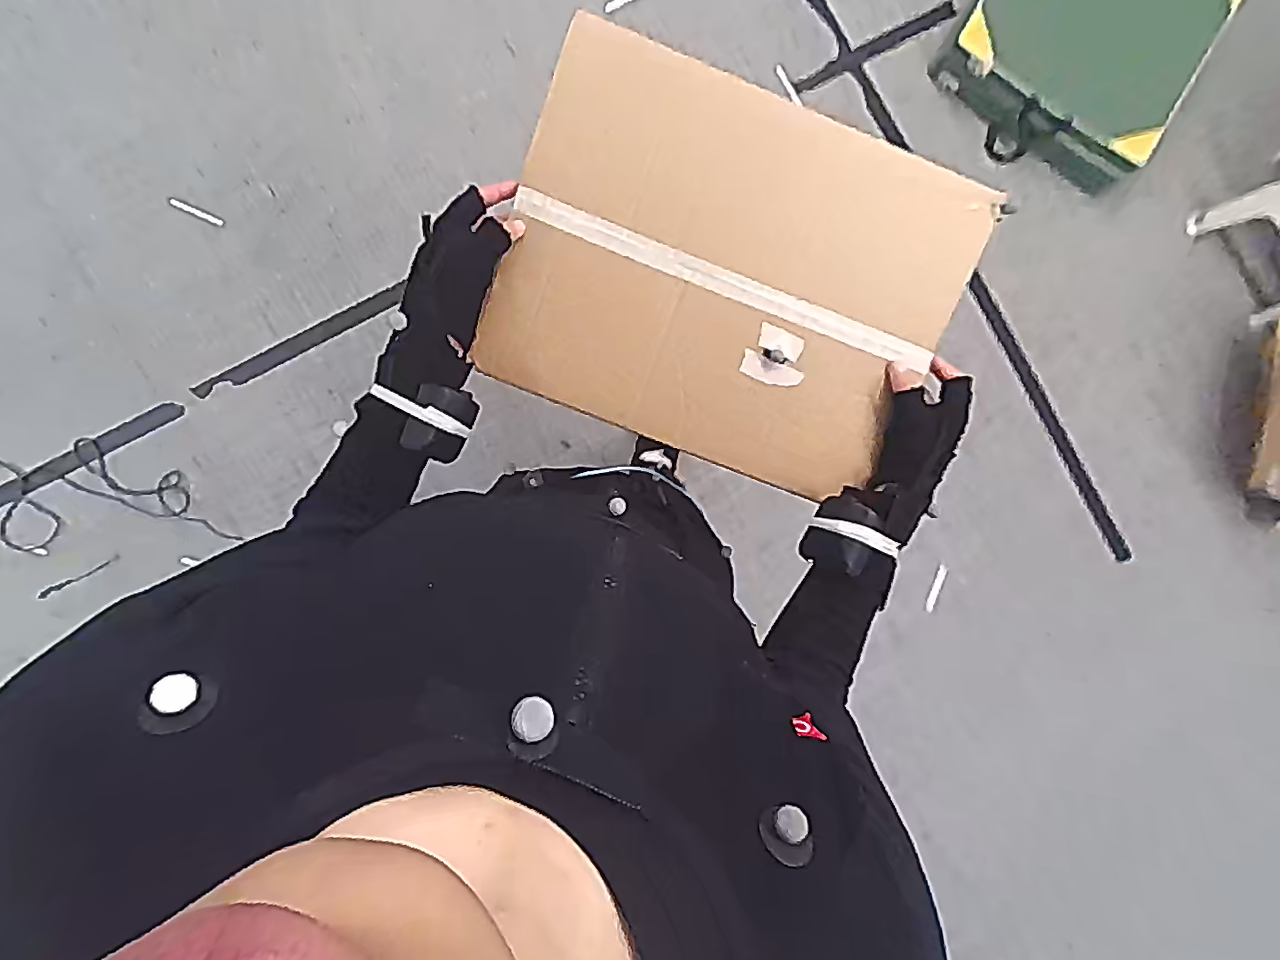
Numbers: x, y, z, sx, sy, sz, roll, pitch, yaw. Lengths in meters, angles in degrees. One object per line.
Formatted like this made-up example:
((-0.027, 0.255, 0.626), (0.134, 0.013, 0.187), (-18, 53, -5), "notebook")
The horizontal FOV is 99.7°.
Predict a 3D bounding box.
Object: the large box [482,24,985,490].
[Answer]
((0.079, -0.221, 0.654), (0.408, 0.320, 0.320), (21, 101, -4), "large box")
